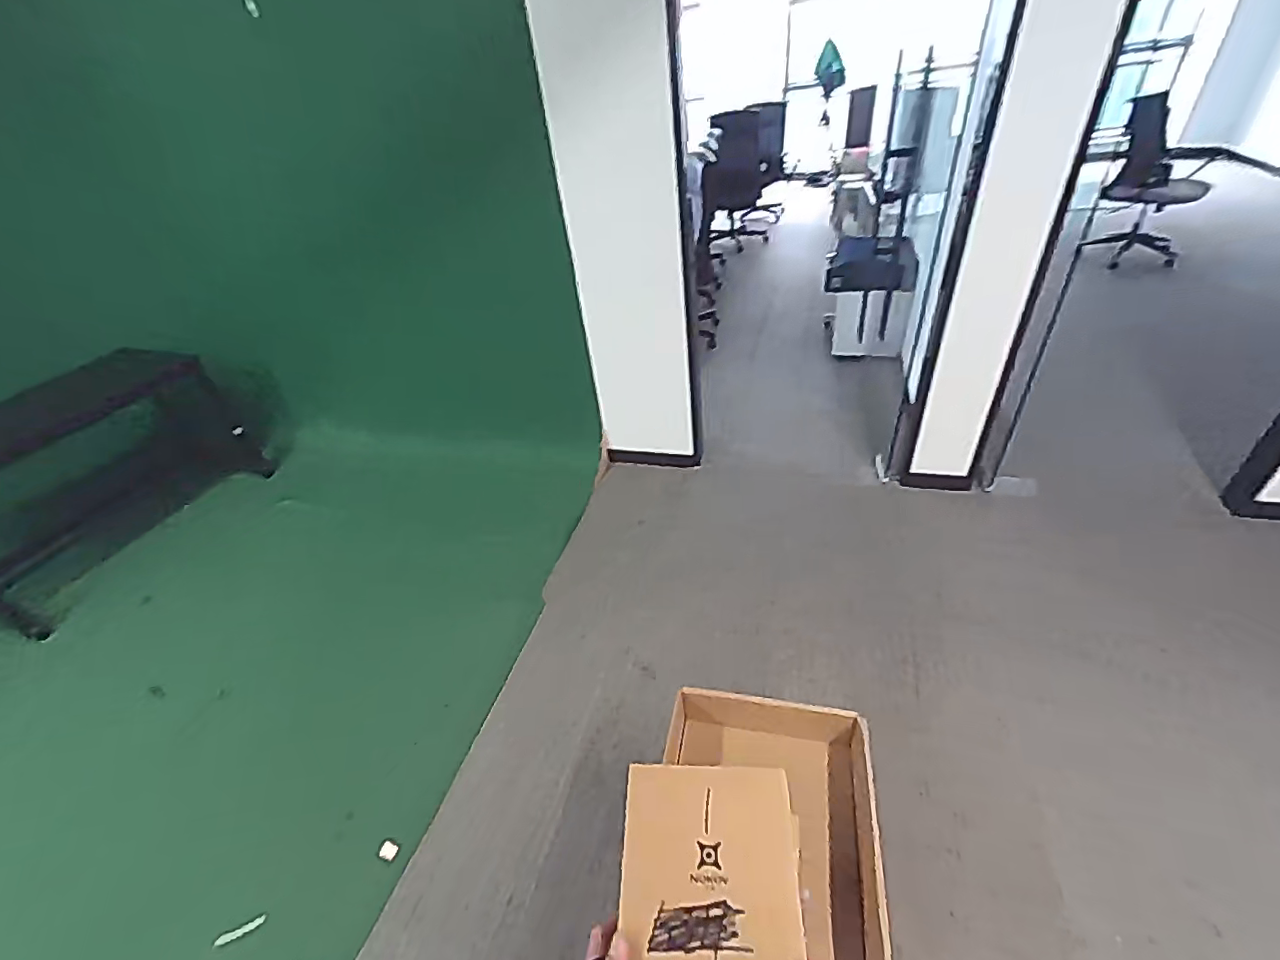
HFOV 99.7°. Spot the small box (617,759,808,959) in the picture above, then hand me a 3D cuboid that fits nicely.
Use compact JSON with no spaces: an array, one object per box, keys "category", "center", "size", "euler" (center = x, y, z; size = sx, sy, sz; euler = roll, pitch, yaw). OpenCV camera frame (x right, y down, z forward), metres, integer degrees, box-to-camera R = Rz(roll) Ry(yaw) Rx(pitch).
[{"category":"small box","center":[0.077,0.410,0.563],"size":[0.168,0.176,0.179],"euler":[-3,46,8]}]
